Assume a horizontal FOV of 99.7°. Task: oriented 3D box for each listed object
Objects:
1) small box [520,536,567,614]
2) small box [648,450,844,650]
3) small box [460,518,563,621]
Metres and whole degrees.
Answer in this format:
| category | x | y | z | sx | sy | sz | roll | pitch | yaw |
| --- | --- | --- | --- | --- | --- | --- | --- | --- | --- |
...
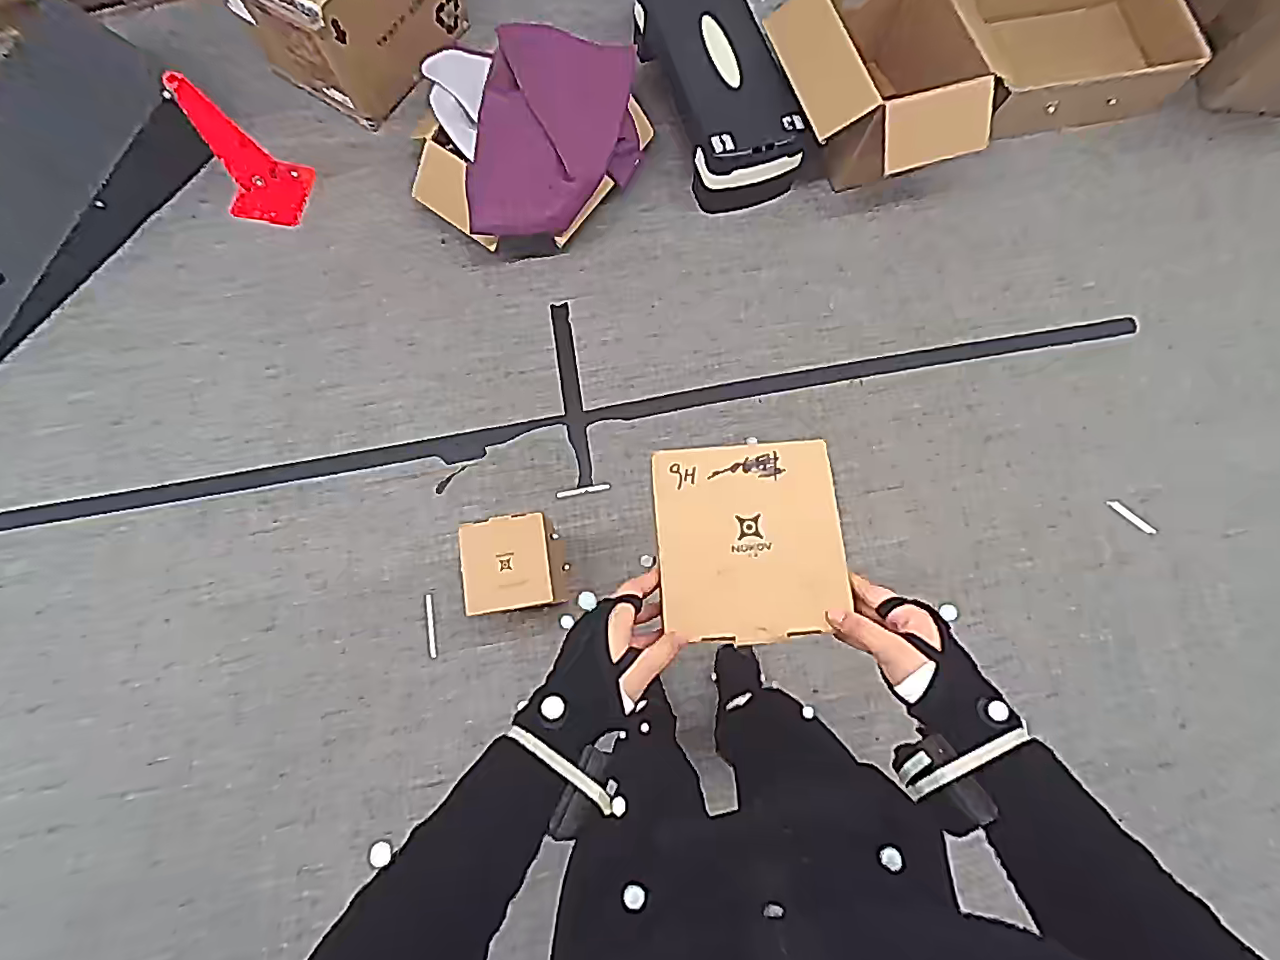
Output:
| category | x | y | z | sx | sy | sz | roll | pitch | yaw |
| --- | --- | --- | --- | --- | --- | --- | --- | --- | --- |
| small box | -0.269 | 0.227 | 1.269 | 0.179 | 0.176 | 0.168 | -8 | 77 | -3 |
| small box | 0.096 | 0.079 | 0.571 | 0.168 | 0.176 | 0.179 | -4 | 76 | 0 |
| small box | -0.258 | 0.186 | 1.112 | 0.168 | 0.176 | 0.179 | -10 | 79 | -2 |
